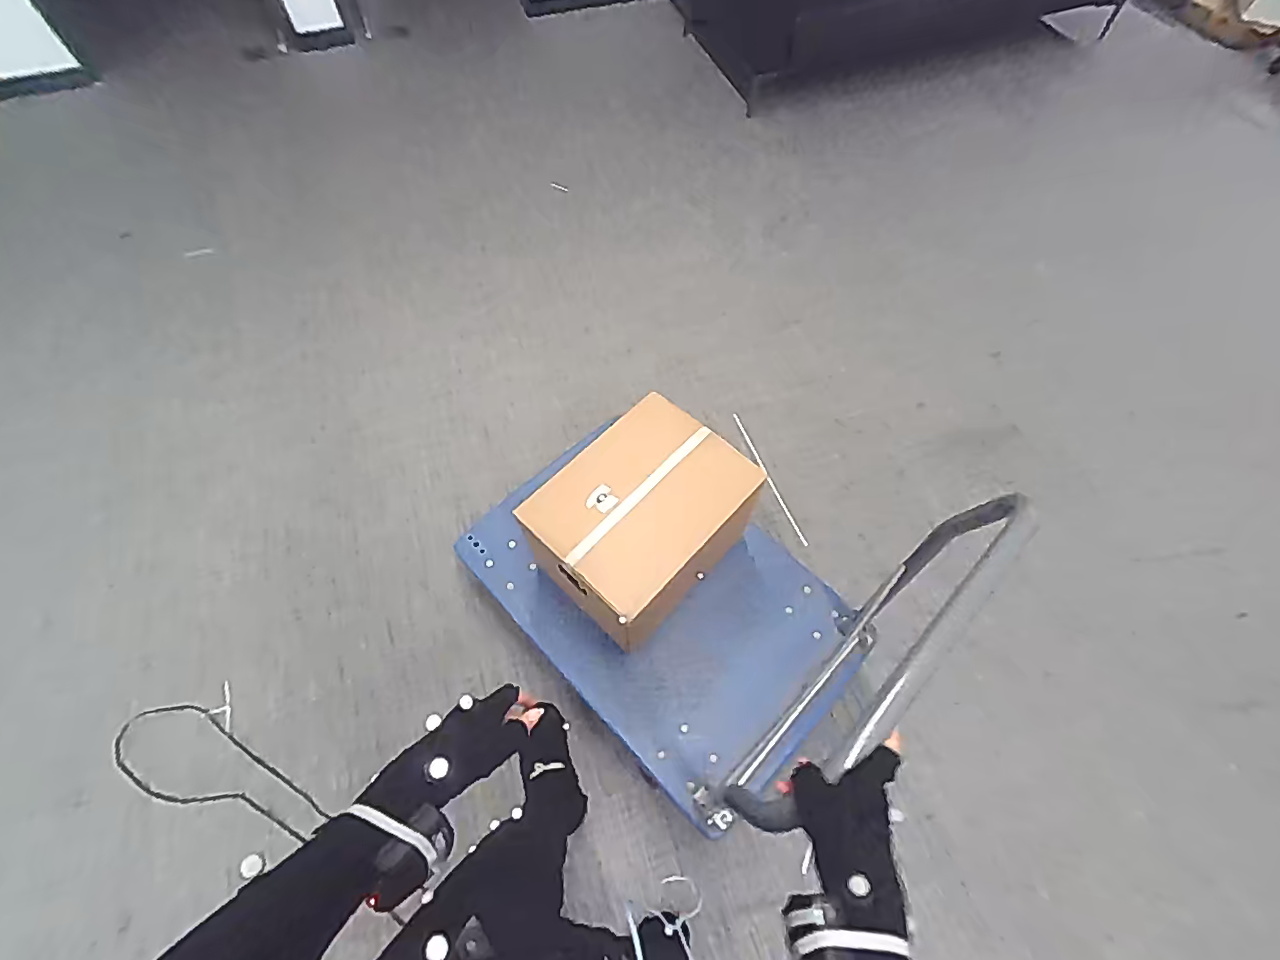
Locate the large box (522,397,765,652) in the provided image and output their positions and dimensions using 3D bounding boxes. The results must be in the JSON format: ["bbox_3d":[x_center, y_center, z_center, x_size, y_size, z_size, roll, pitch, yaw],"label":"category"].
[{"bbox_3d":[0.013,0.103,1.194,0.320,0.320,0.408,38,69,19],"label":"large box"}]
